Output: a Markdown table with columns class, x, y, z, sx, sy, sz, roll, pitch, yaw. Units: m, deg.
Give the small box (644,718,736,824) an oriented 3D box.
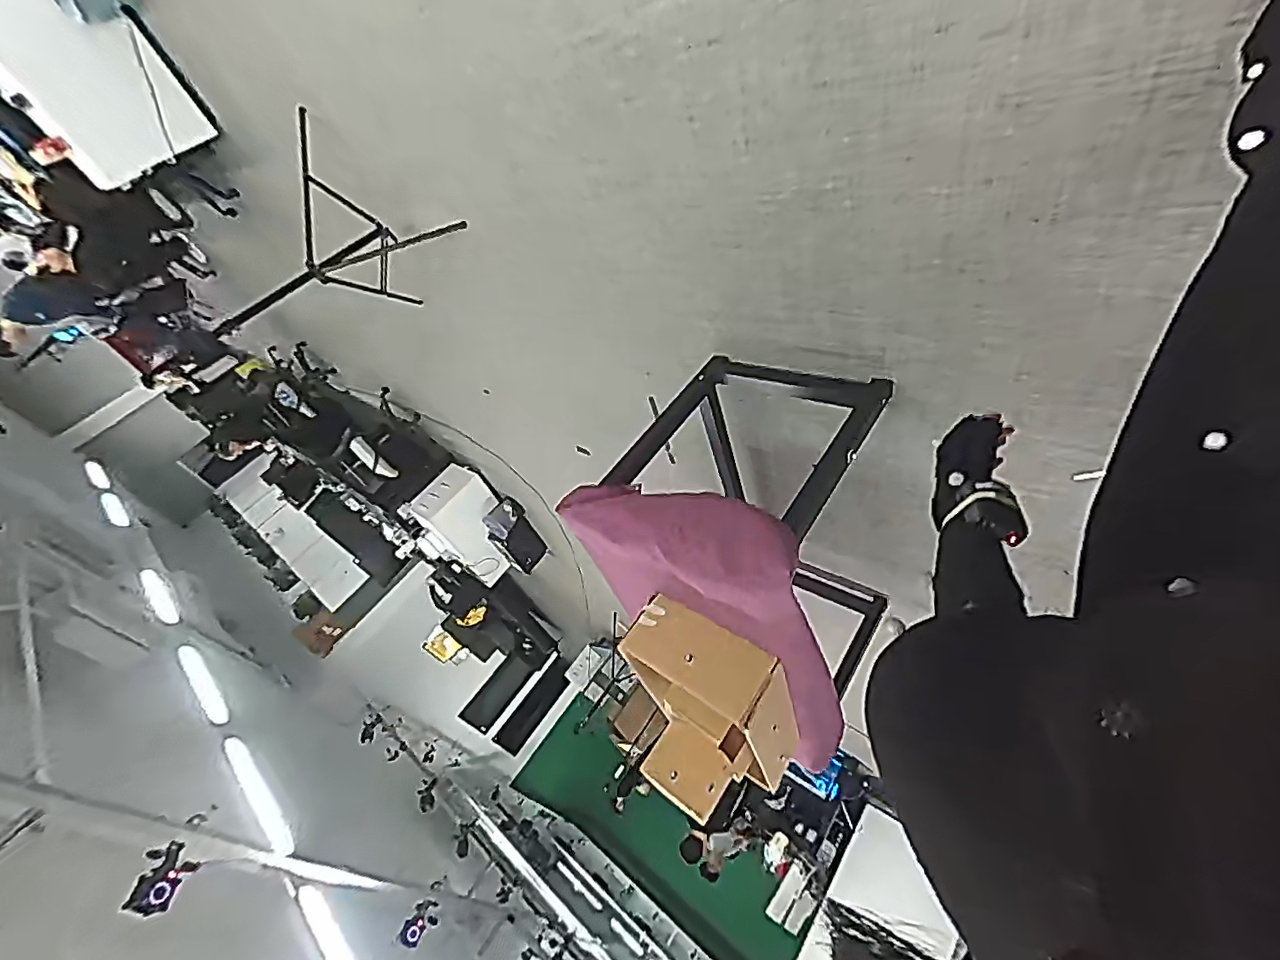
| class | x | y | z | sx | sy | sz | roll | pitch | yaw |
| --- | --- | --- | --- | --- | --- | --- | --- | --- | --- |
| small box | 0.146 | 0.792 | 1.481 | 0.179 | 0.176 | 0.168 | 22 | 149 | 39 |
